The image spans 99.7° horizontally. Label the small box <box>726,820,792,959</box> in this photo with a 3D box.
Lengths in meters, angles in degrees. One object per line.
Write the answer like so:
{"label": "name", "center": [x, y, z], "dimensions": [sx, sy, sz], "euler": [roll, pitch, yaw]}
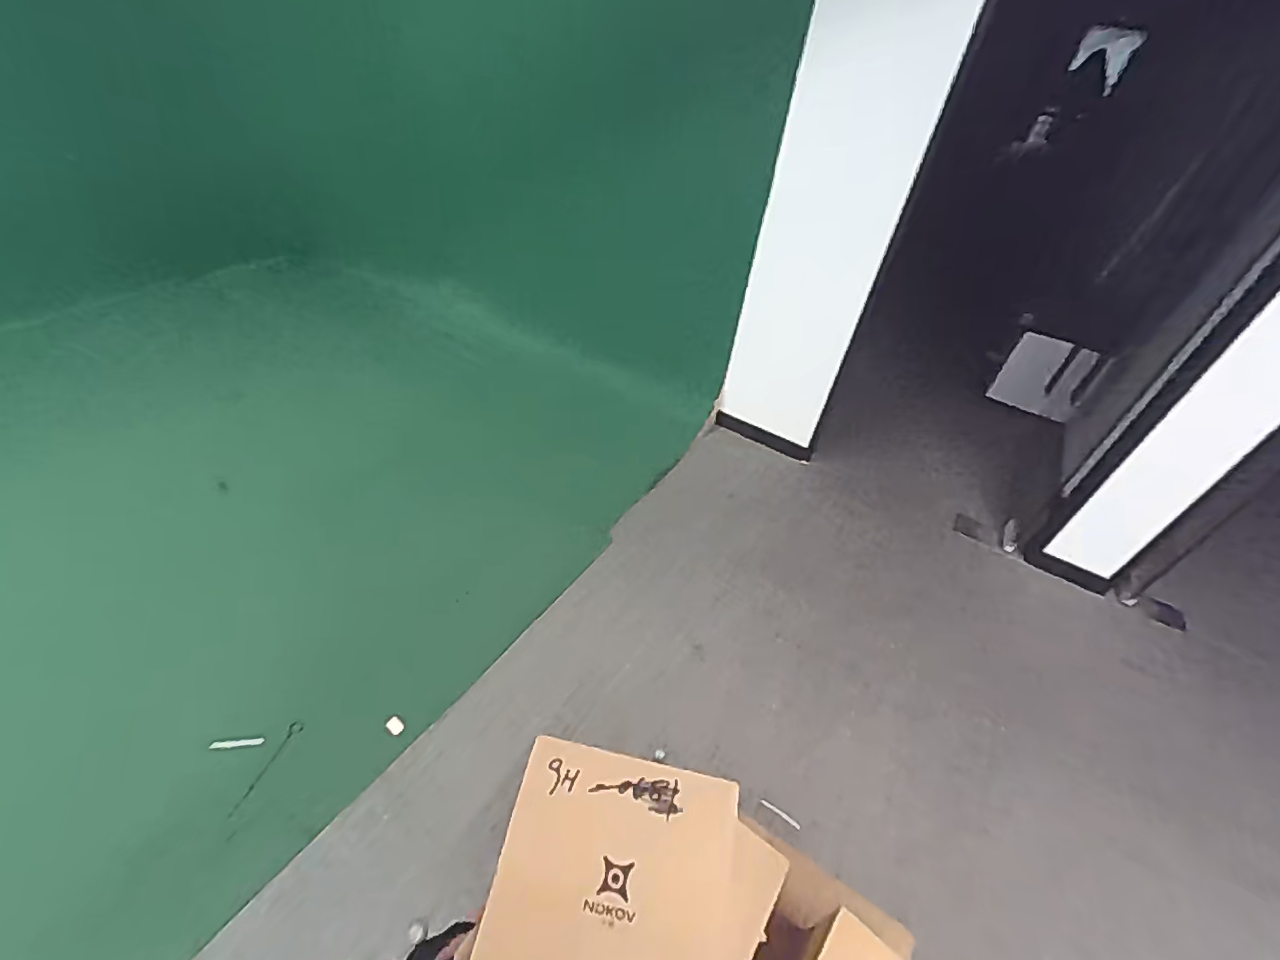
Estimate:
{"label": "small box", "center": [0.097, 0.614, 0.805], "dimensions": [0.168, 0.176, 0.179], "euler": [30, 47, 21]}

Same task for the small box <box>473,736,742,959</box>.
{"label": "small box", "center": [-0.022, 0.330, 0.439], "dimensions": [0.168, 0.176, 0.179], "euler": [11, 56, 4]}

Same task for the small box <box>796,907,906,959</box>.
{"label": "small box", "center": [0.281, 0.723, 0.709], "dimensions": [0.168, 0.176, 0.179], "euler": [32, 47, 27]}
